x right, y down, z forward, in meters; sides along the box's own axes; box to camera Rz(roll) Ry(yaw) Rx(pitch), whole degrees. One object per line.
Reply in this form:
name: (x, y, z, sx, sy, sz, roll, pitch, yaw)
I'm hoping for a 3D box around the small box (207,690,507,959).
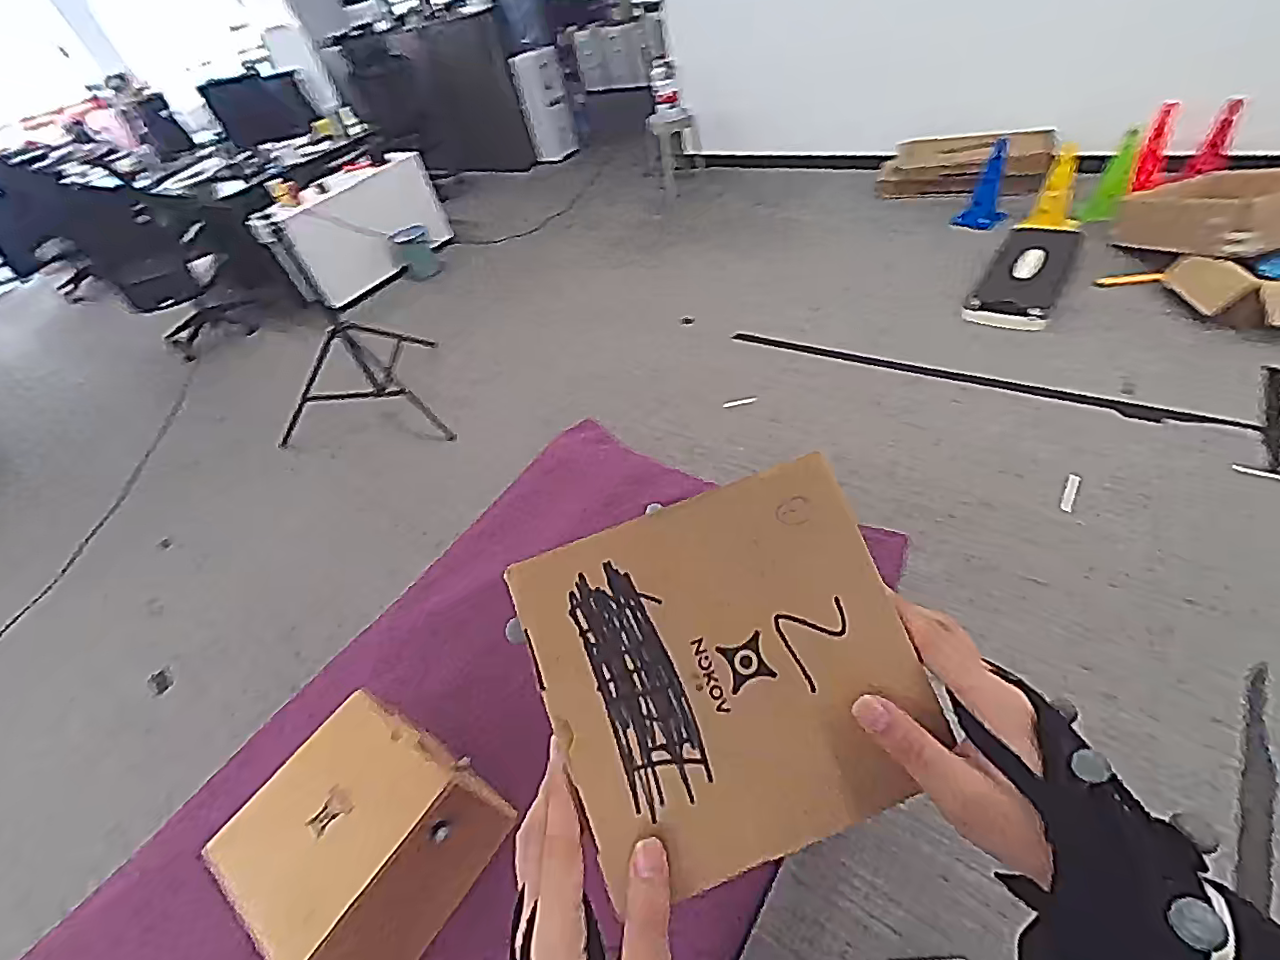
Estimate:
small box: (-0.268, 0.359, 0.549, 0.168, 0.176, 0.179, 21, 55, 31)
